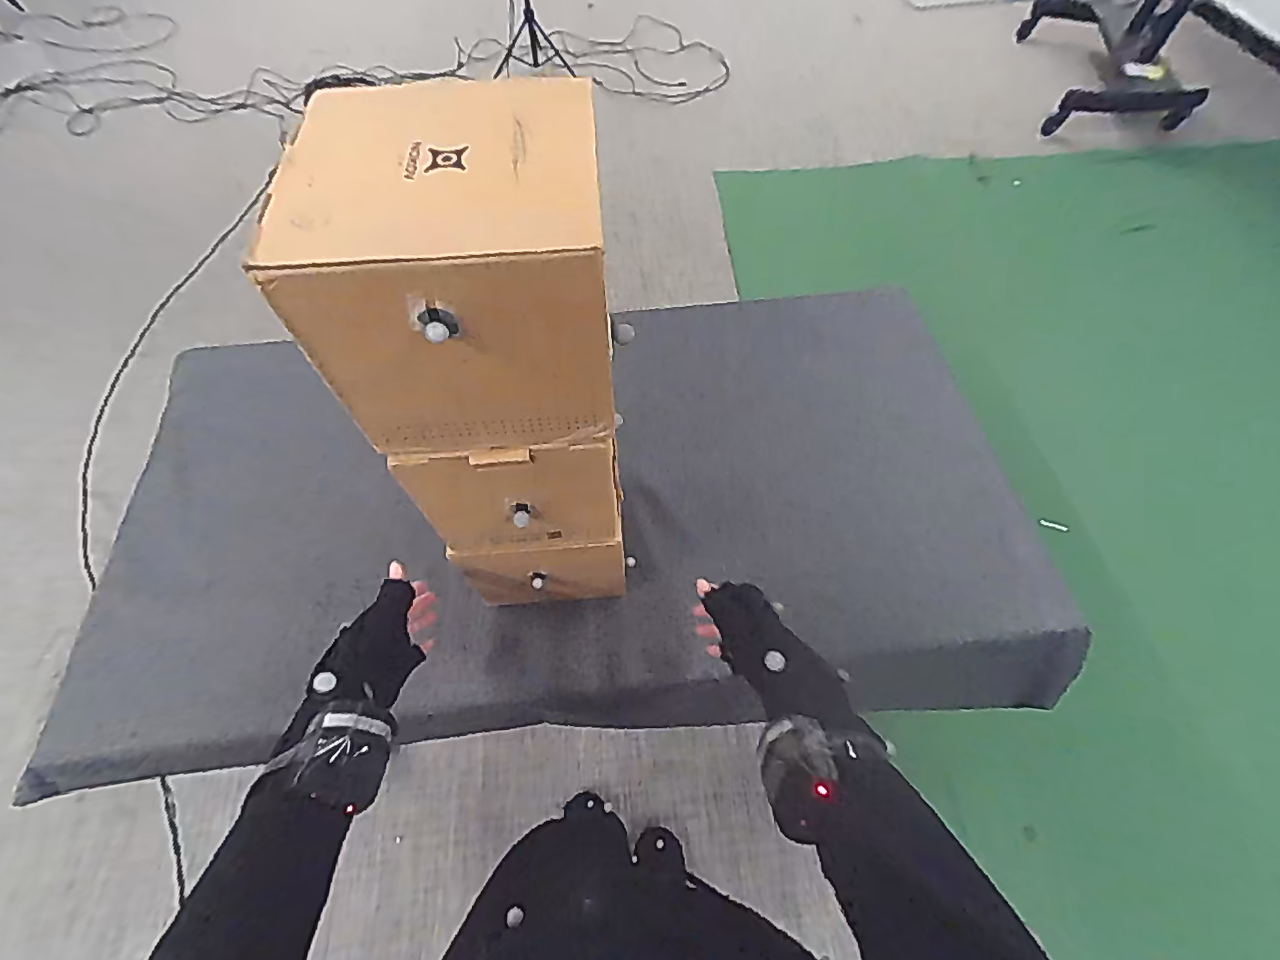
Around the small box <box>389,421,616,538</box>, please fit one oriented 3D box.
[{"bbox_3d":[-0.112,-0.054,0.508,0.168,0.176,0.179,-5,61,-3],"label":"small box"}]

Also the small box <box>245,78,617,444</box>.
[{"bbox_3d":[-0.109,-0.136,0.368,0.179,0.176,0.168,-4,61,-3],"label":"small box"}]

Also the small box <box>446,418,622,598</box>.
[{"bbox_3d":[-0.112,0.034,0.645,0.179,0.176,0.168,-4,60,-2],"label":"small box"}]
